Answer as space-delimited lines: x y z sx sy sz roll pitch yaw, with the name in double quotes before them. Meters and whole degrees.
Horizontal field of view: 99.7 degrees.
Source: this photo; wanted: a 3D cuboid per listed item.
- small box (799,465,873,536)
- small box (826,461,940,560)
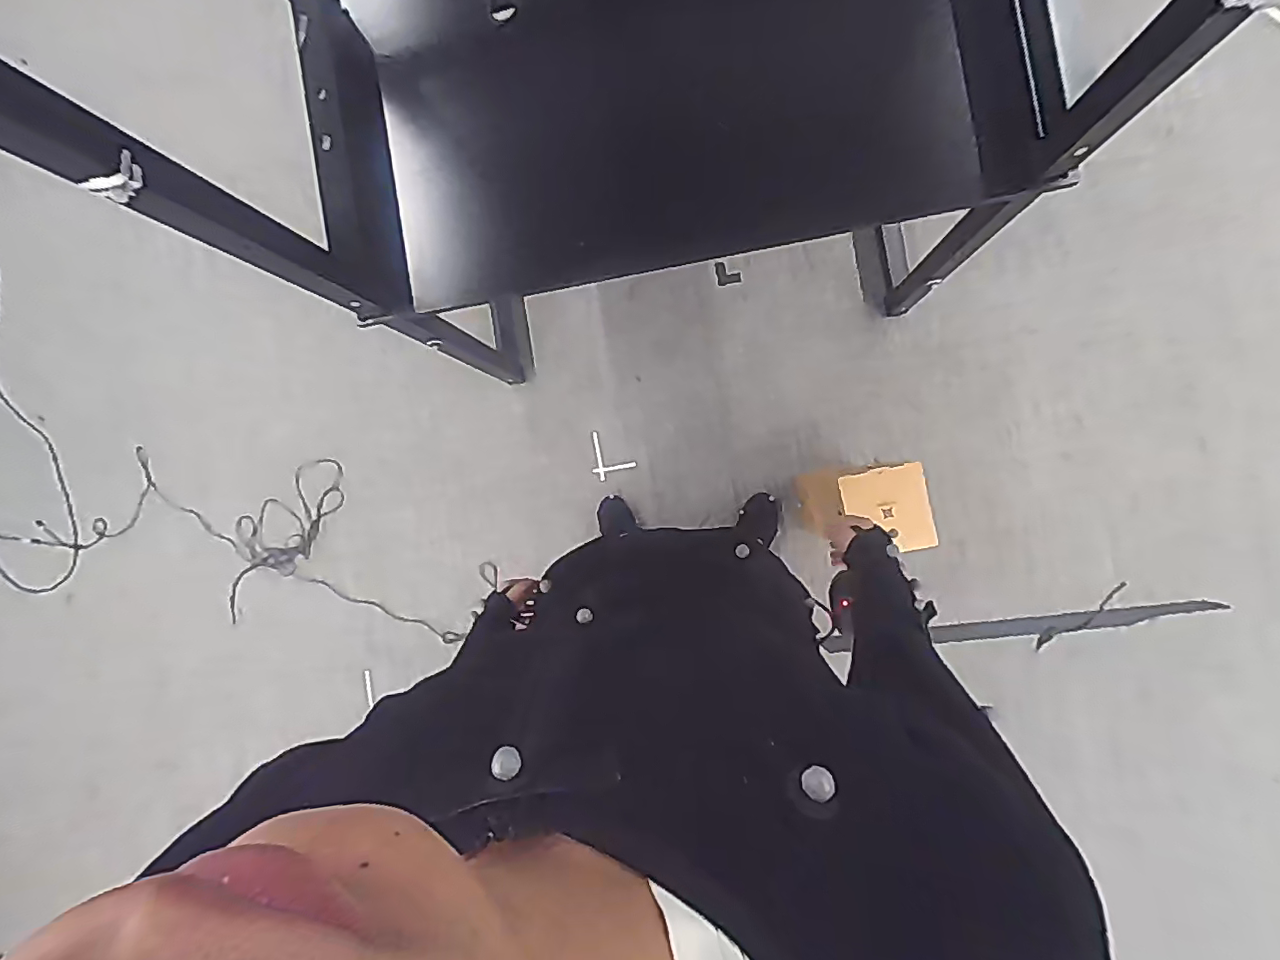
"small box" 0.551 0.053 1.485 0.179 0.176 0.168 -11 89 8
"small box" 0.511 0.060 1.160 0.168 0.176 0.179 -12 89 8
